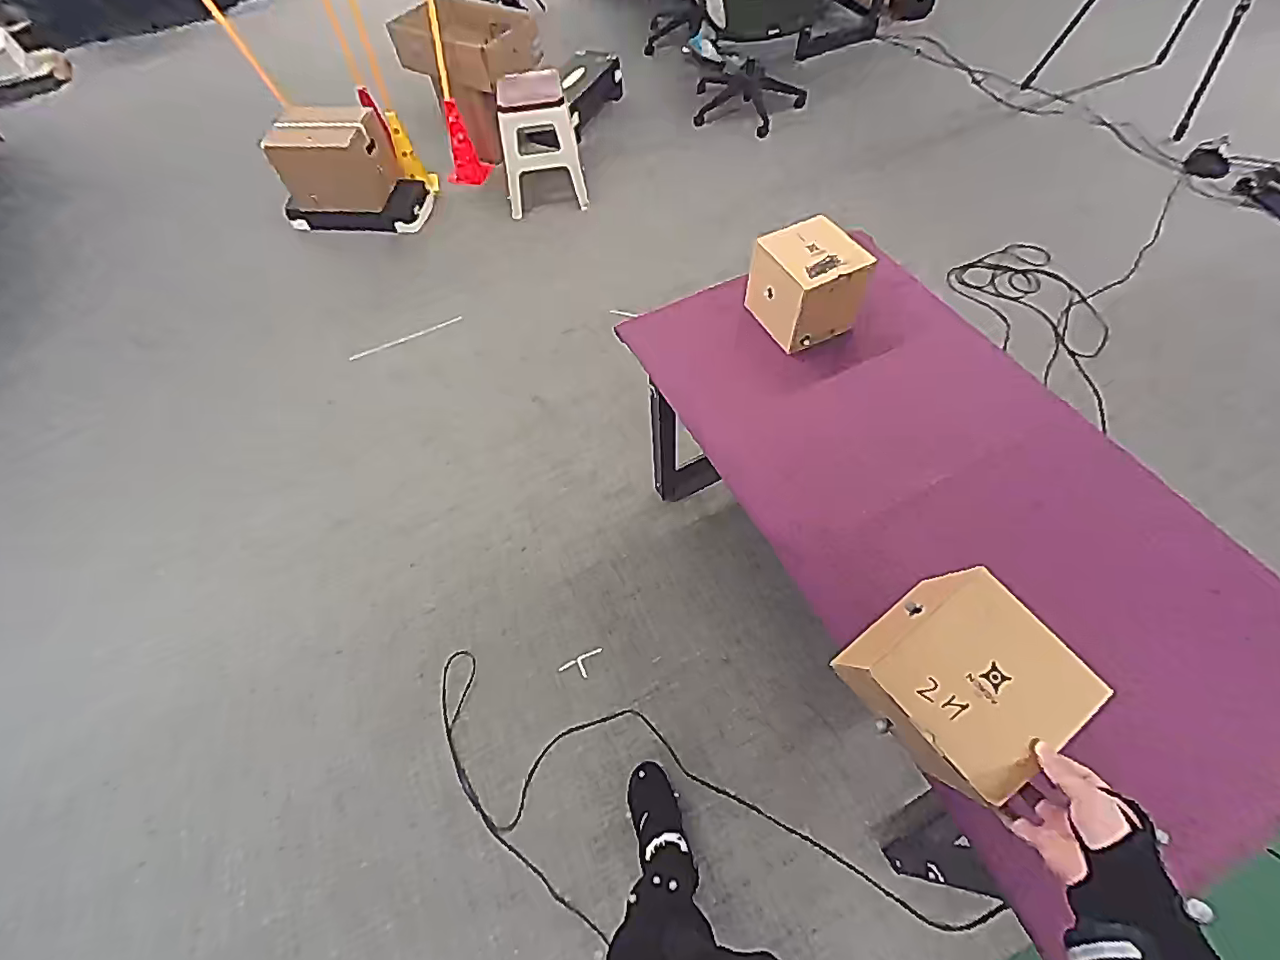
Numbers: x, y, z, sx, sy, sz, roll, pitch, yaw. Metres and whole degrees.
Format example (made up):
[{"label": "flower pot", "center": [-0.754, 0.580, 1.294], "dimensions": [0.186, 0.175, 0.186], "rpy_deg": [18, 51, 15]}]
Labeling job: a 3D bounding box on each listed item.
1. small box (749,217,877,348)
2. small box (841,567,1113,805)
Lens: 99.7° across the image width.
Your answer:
[{"label": "small box", "center": [0.341, -0.393, 1.104], "dimensions": [0.168, 0.176, 0.179], "rpy_deg": [-24, 59, -11]}, {"label": "small box", "center": [0.364, 0.224, 0.627], "dimensions": [0.179, 0.176, 0.168], "rpy_deg": [-39, 73, -5]}]
